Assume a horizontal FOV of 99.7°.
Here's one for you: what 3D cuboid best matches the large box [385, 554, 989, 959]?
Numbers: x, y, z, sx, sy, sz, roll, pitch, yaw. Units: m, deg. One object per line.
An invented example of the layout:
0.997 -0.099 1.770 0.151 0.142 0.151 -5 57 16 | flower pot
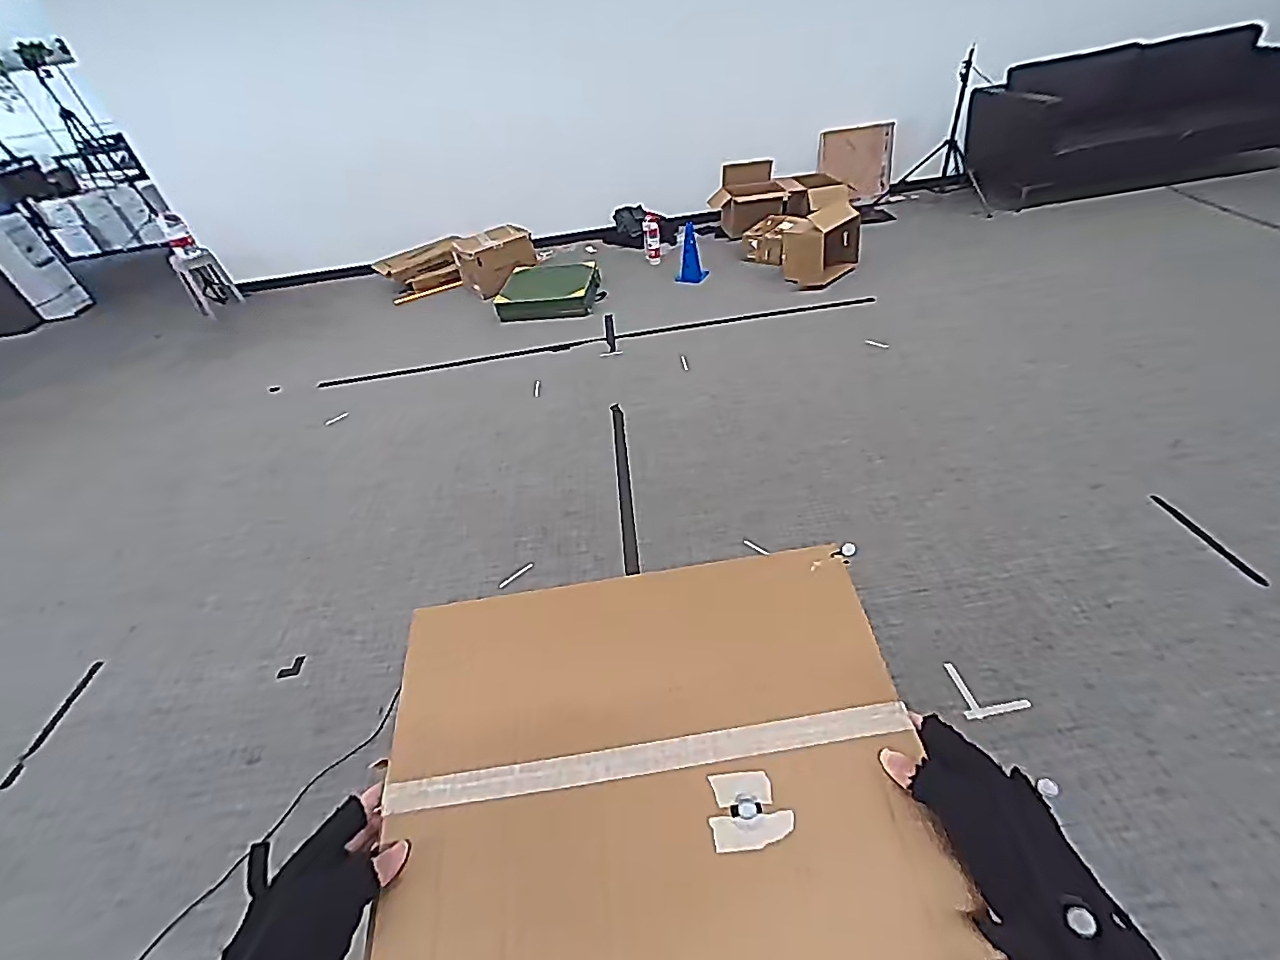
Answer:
0.021 0.313 0.547 0.408 0.320 0.320 -9 53 0 | large box
